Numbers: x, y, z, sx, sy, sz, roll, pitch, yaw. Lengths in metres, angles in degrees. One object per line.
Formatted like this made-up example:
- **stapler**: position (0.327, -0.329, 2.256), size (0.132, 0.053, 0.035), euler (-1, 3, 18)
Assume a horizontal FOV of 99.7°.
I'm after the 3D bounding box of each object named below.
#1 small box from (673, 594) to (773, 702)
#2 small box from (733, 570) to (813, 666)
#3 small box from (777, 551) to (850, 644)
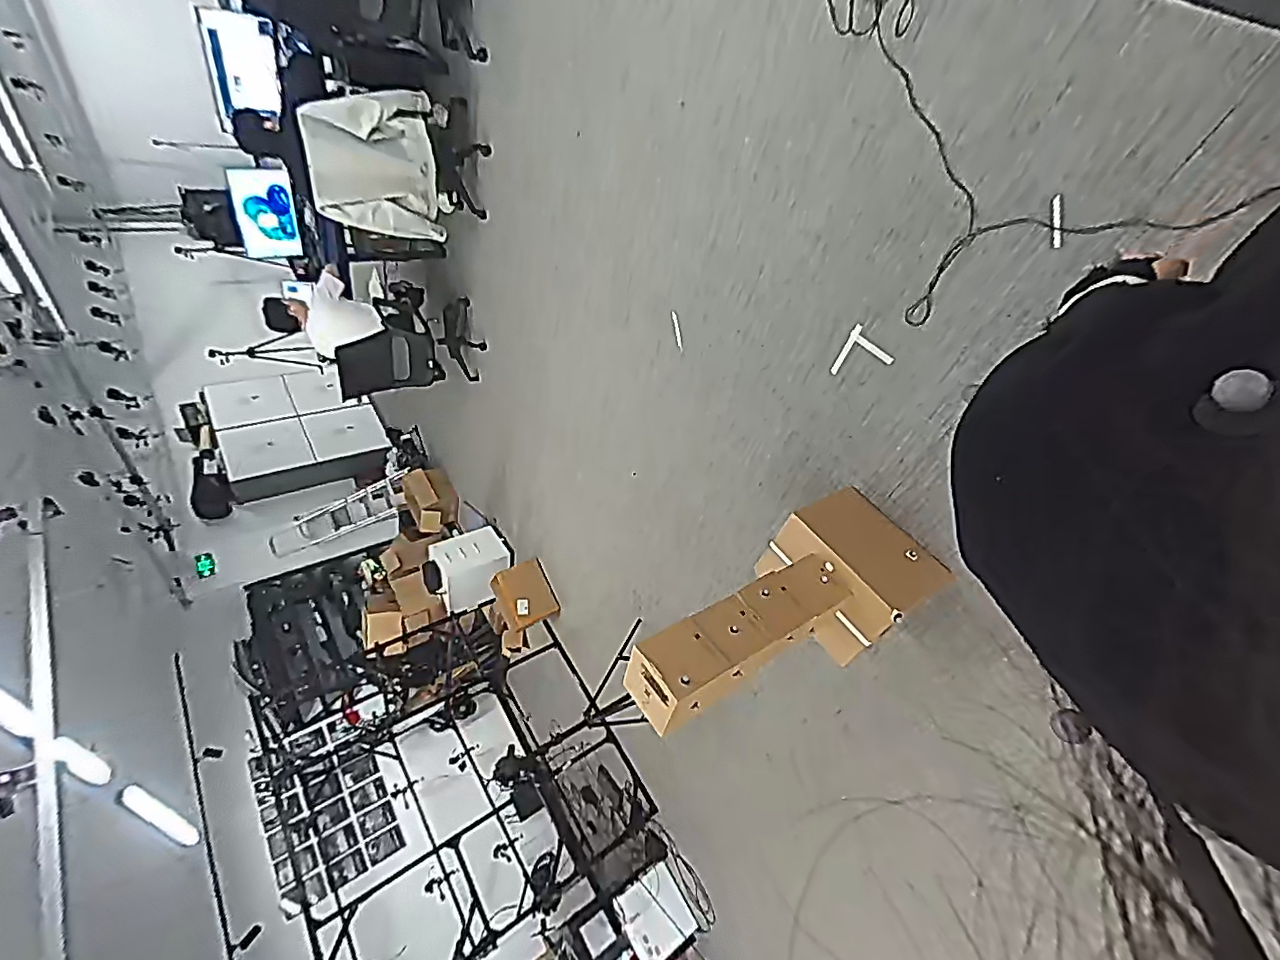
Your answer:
- **small box**: position (0.216, 0.426, 1.395), size (0.168, 0.176, 0.179), euler (47, 139, 34)
- **small box**: position (0.345, 0.376, 1.484), size (0.168, 0.176, 0.179), euler (49, 142, 31)
- **small box**: position (0.475, 0.339, 1.574), size (0.168, 0.176, 0.179), euler (49, 140, 29)
